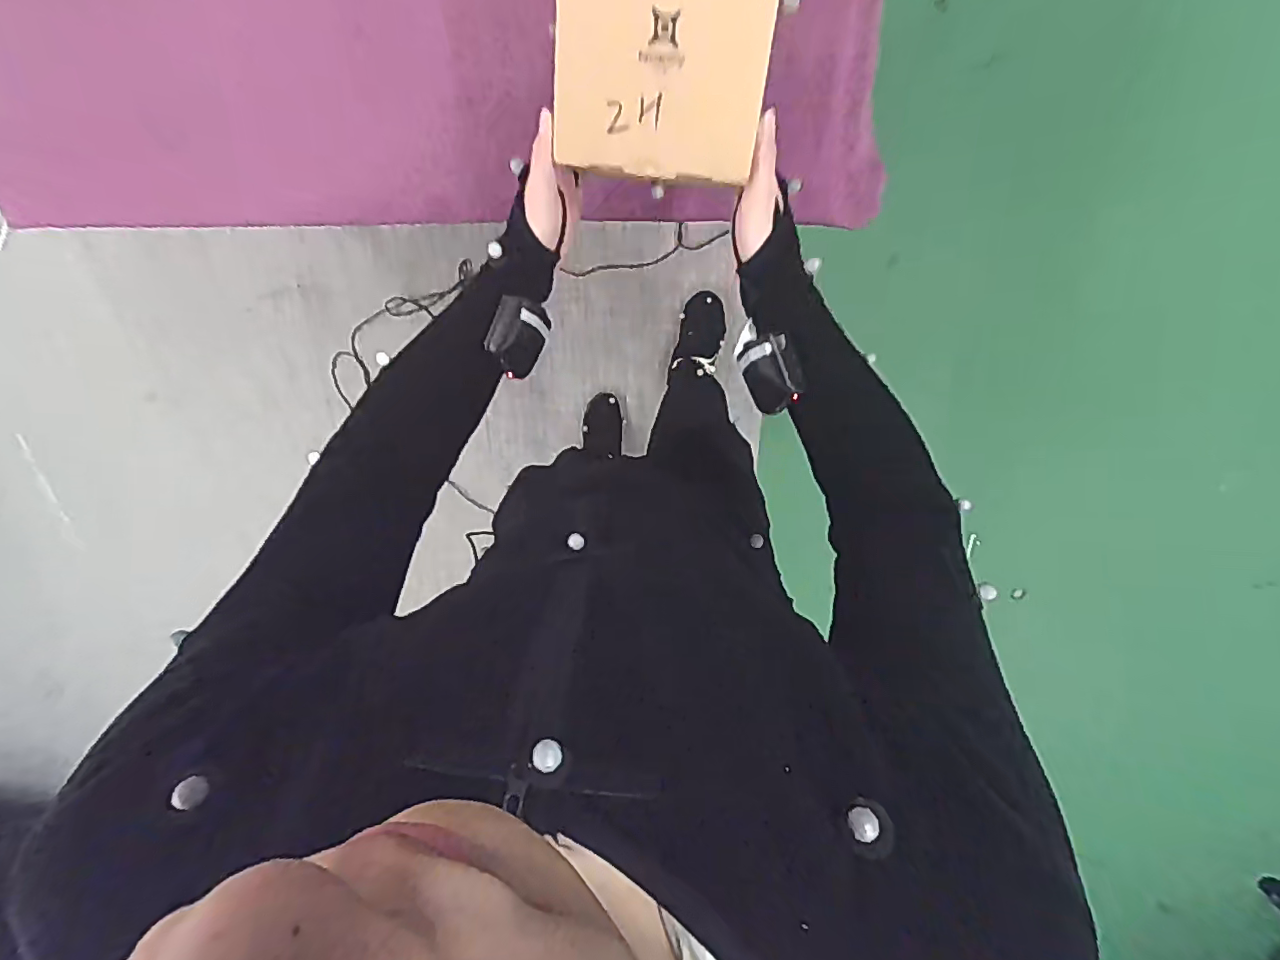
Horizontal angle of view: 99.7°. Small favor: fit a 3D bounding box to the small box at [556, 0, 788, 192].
[{"bbox_3d":[0.027,-0.362,0.476,0.168,0.176,0.179,8,119,2],"label":"small box"}]
